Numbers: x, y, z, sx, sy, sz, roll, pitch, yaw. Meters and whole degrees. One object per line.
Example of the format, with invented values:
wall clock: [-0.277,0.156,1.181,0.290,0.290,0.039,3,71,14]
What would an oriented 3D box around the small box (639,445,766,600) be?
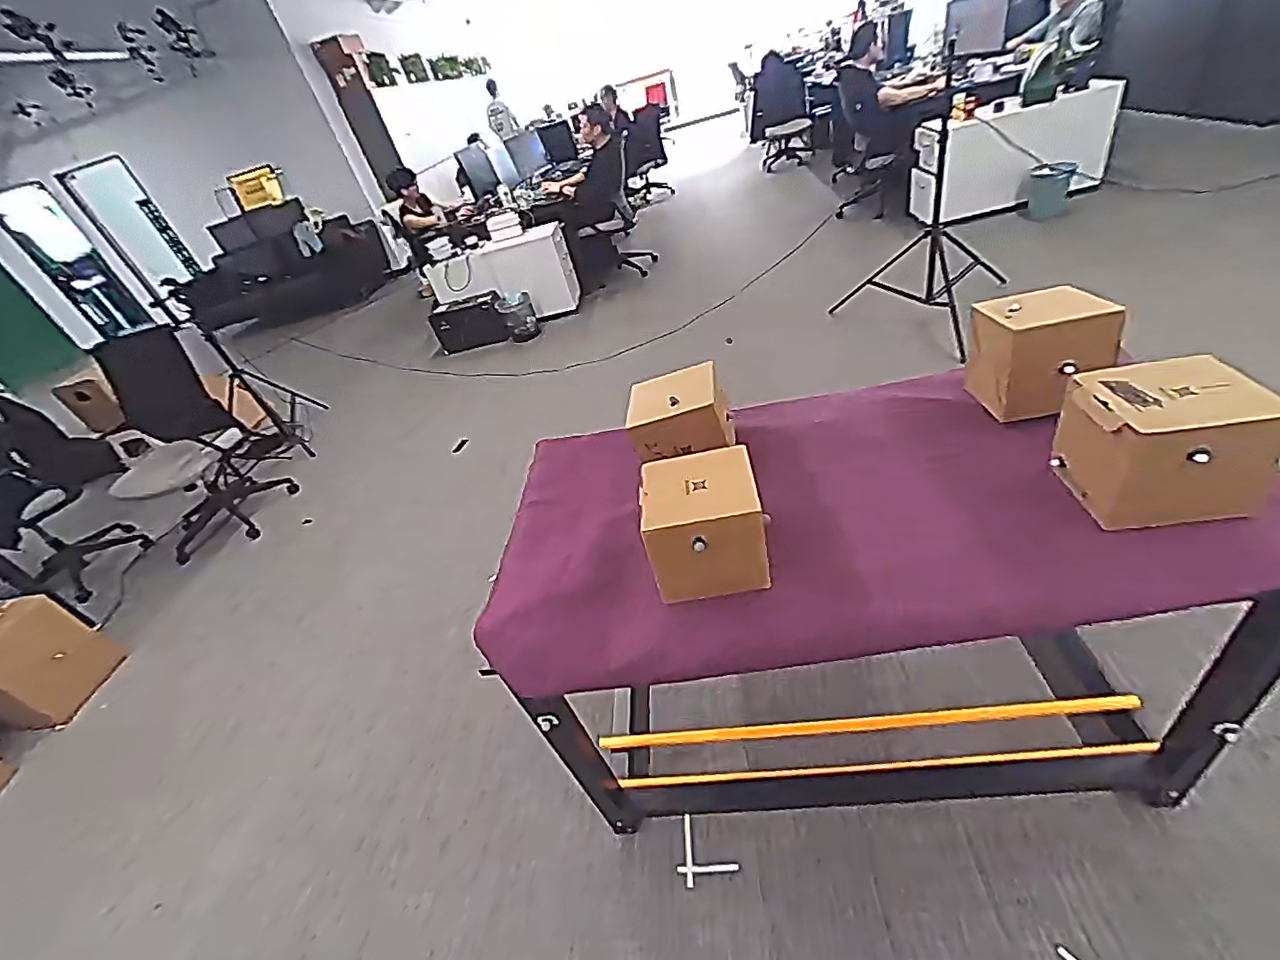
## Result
small box: [0.103,0.070,0.871,0.179,0.176,0.168,-11,37,9]

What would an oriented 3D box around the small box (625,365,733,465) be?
small box: [0.084,-0.106,1.081,0.179,0.168,0.176,-14,35,17]

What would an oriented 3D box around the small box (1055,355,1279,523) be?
small box: [0.728,-0.054,0.769,0.179,0.176,0.168,-8,36,12]
